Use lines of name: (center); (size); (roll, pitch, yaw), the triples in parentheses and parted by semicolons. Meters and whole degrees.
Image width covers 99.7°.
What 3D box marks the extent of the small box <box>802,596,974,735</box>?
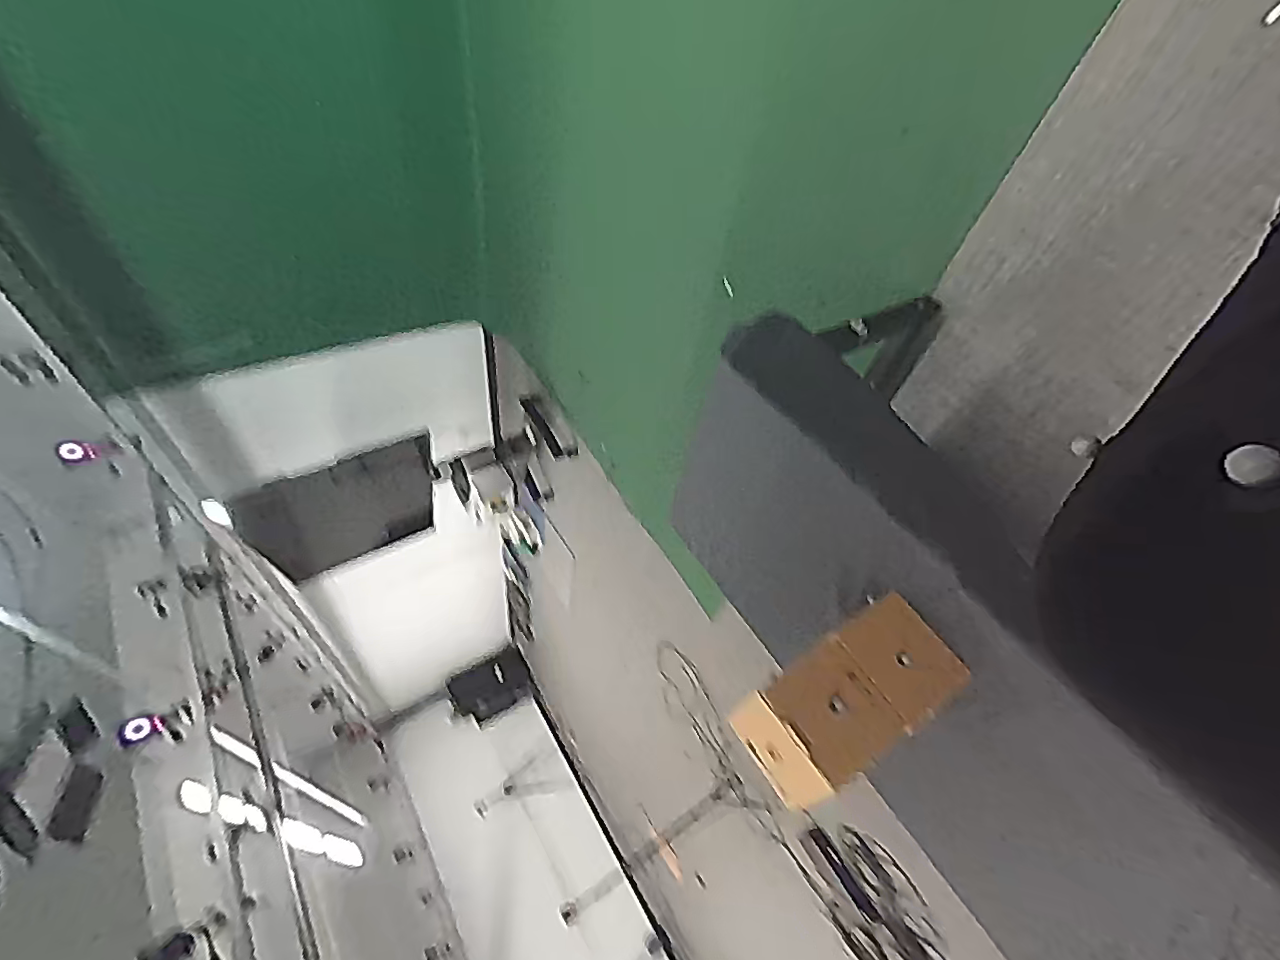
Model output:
small box: (0.425, 0.325, 0.943); (0.179, 0.176, 0.168); (52, 151, 25)

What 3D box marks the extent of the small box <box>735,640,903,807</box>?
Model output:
small box: (0.290, 0.390, 0.879); (0.168, 0.176, 0.179); (52, 150, 27)
